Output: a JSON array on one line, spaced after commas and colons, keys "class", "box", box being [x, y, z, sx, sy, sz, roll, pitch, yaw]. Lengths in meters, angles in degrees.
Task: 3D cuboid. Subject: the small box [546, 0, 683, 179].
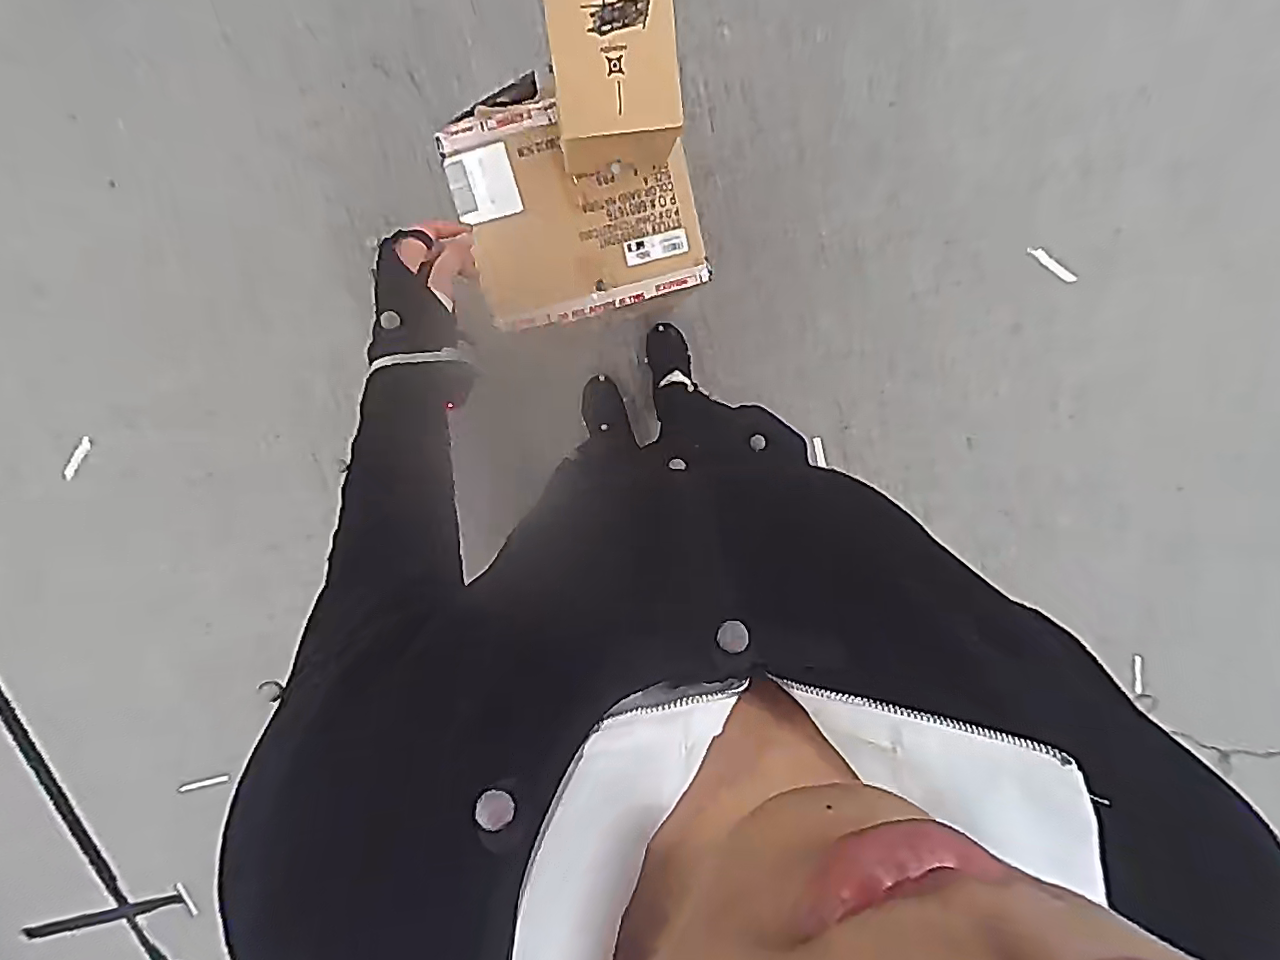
[{"class": "small box", "box": [-0.040, -0.557, 0.776, 0.168, 0.176, 0.179, -8, 106, -4]}]
